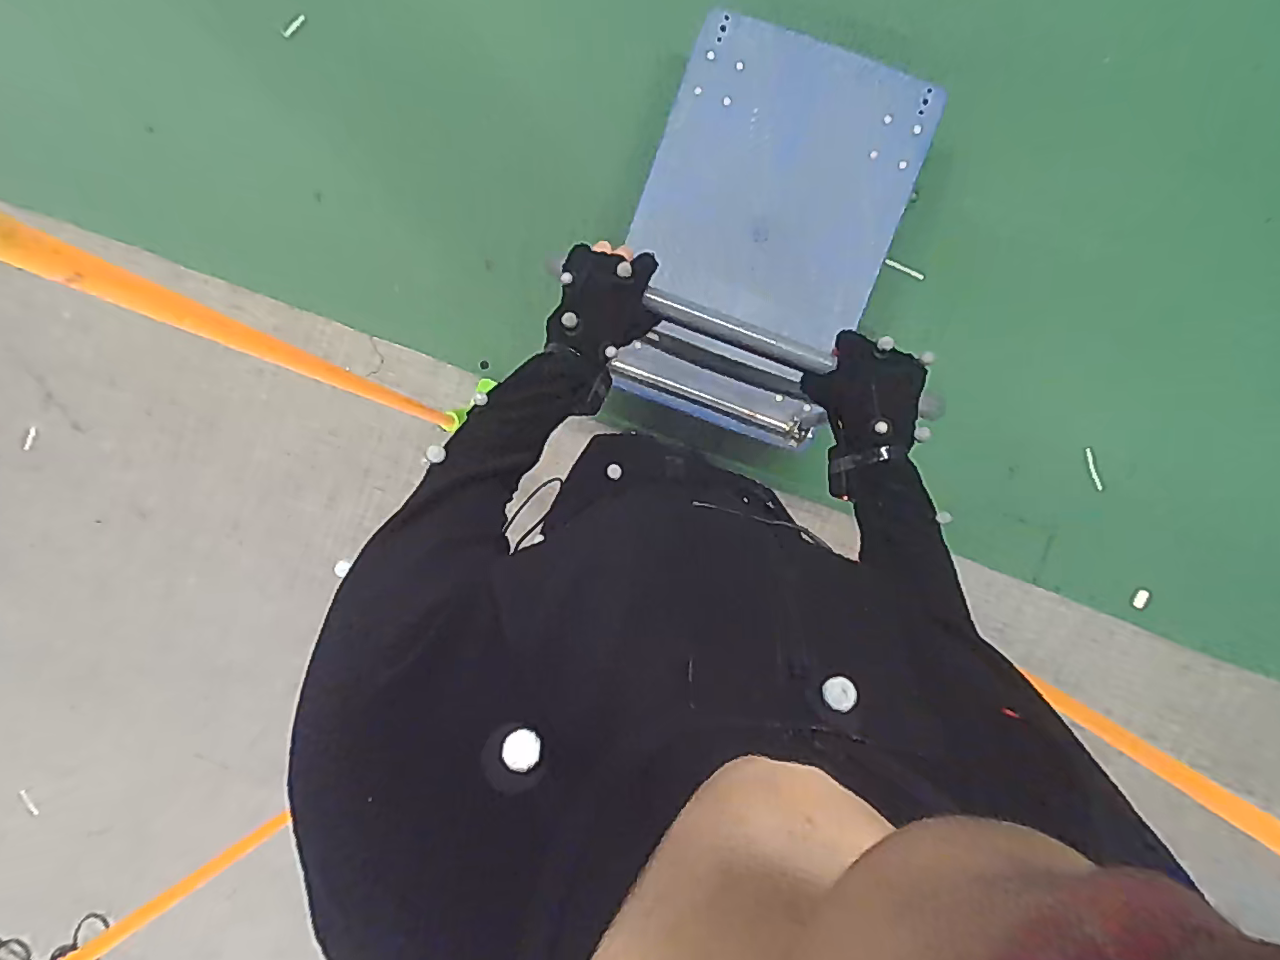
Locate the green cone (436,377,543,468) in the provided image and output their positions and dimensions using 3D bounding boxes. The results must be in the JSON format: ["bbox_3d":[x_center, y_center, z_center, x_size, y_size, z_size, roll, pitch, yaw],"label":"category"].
[{"bbox_3d":[-0.393,-0.147,1.304,0.202,0.368,0.200,26,94,1],"label":"green cone"}]
